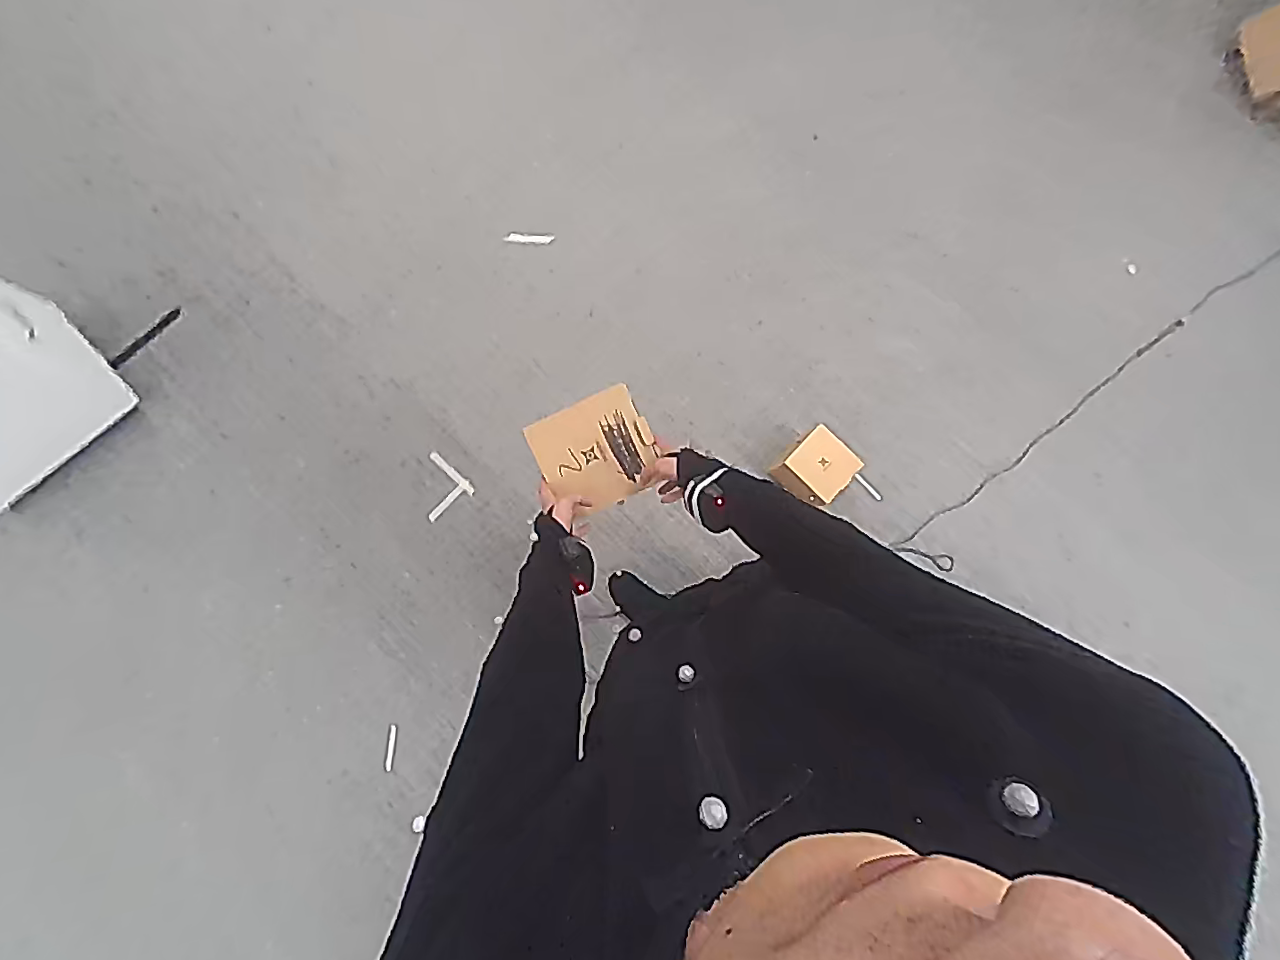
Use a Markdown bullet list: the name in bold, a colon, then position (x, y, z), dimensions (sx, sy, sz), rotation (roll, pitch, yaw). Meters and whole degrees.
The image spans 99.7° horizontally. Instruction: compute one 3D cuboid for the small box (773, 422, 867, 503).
- **small box**: position (0.527, -0.044, 1.614), dimensions (0.179, 0.176, 0.168), rotation (44, 83, 1)
